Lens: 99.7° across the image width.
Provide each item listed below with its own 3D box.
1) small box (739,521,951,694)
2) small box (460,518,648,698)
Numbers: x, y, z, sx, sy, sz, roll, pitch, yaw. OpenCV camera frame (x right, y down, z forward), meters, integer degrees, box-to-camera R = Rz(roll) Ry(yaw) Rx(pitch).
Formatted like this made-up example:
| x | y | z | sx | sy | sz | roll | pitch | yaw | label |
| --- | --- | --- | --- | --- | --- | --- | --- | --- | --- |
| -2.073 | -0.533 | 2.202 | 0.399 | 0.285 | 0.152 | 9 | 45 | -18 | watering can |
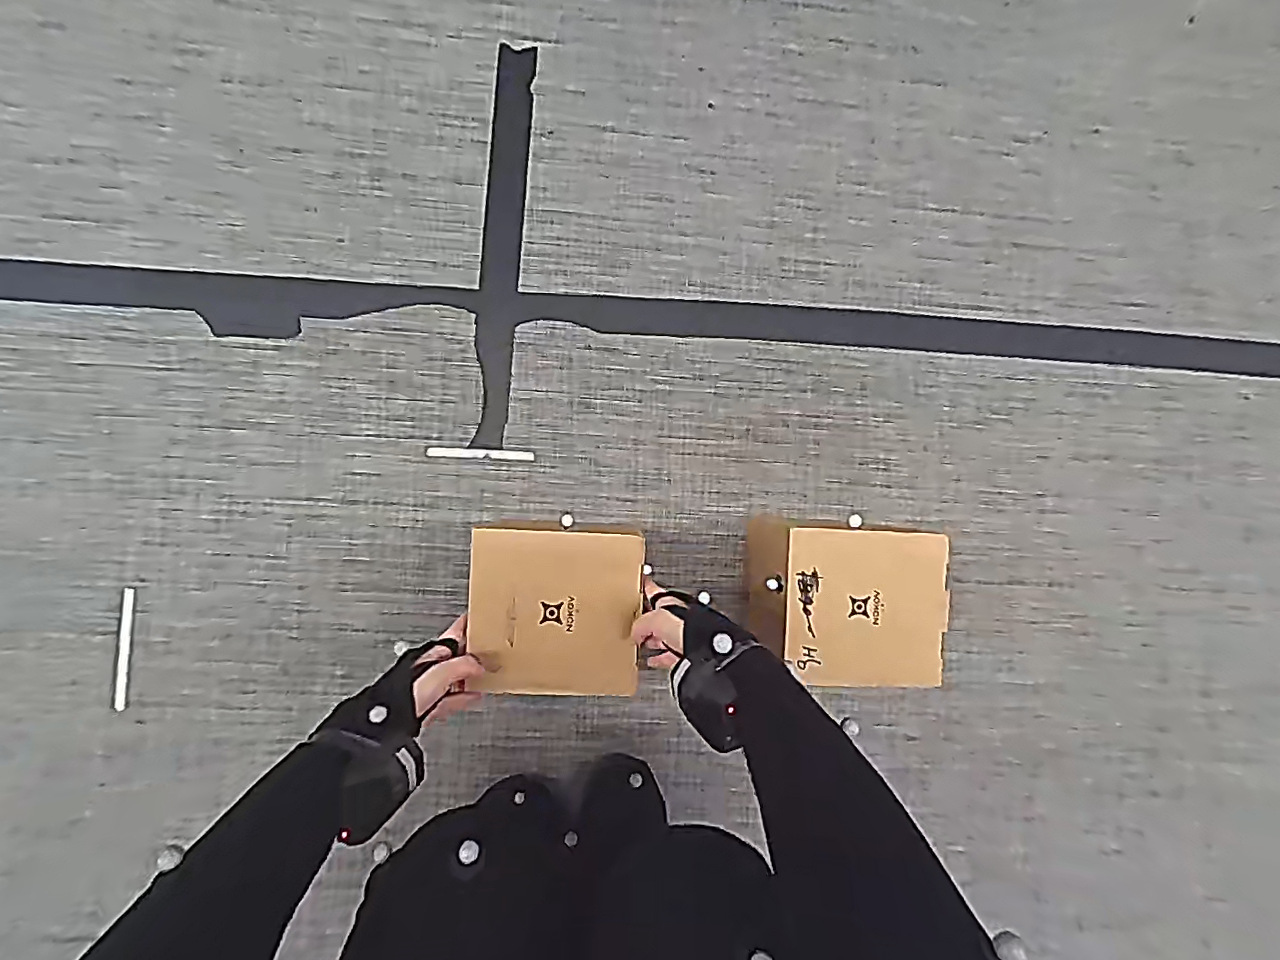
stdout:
| x | y | z | sx | sy | sz | roll | pitch | yaw | label |
| --- | --- | --- | --- | --- | --- | --- | --- | --- | --- |
| 0.228 | 0.137 | 0.639 | 0.179 | 0.176 | 0.168 | 4 | 89 | -5 | small box |
| -0.090 | 0.133 | 0.615 | 0.179 | 0.176 | 0.168 | 4 | 88 | -4 | small box |
